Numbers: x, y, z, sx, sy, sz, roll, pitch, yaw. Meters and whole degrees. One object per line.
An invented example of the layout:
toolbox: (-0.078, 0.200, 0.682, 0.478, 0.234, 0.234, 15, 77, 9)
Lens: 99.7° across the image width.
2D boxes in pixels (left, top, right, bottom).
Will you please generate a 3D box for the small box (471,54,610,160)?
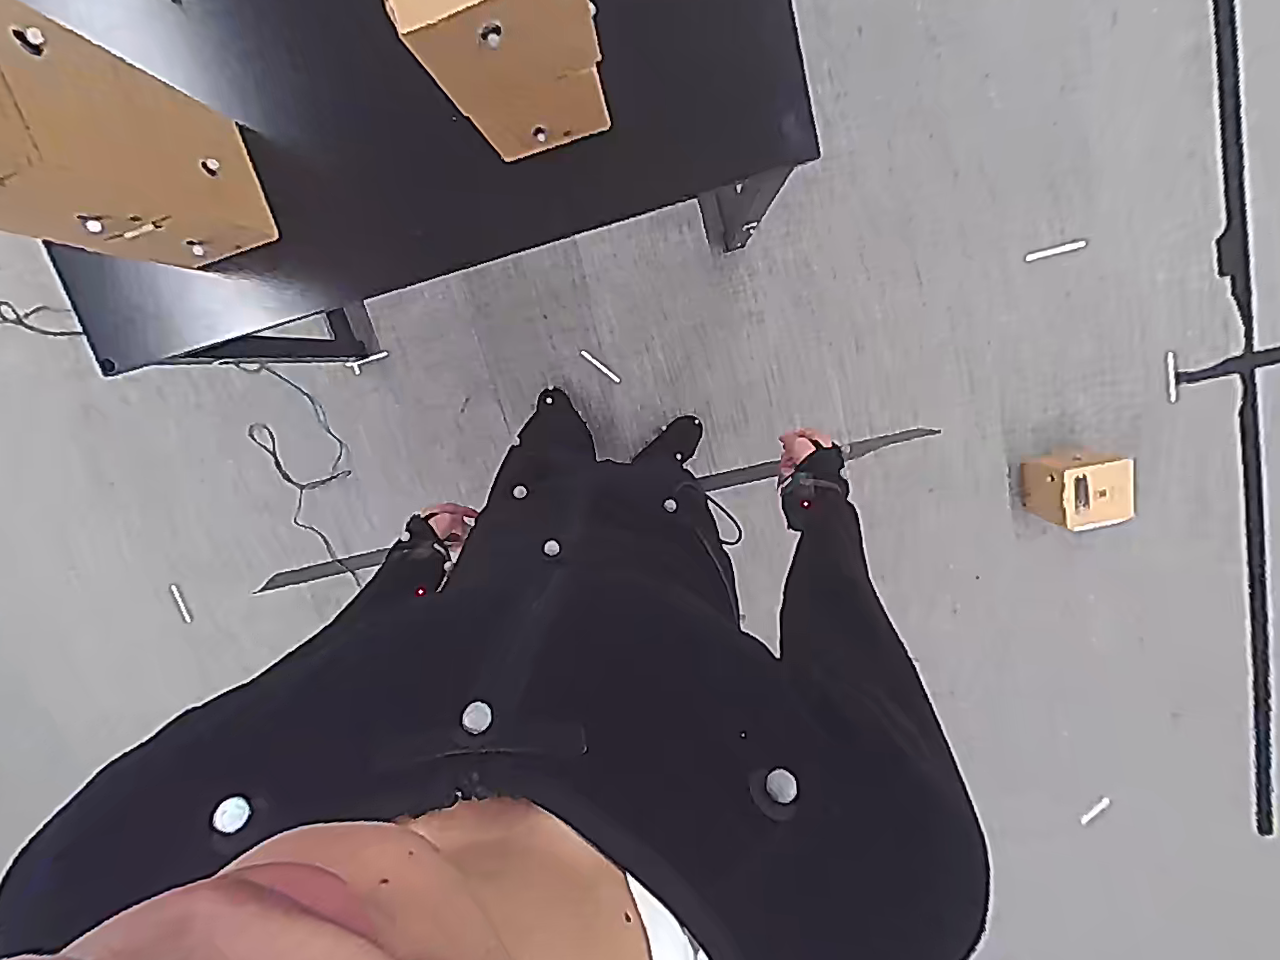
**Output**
small box: (-0.144, -0.554, 0.695, 0.168, 0.176, 0.179, -15, 101, 6)

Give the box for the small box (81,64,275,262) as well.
small box: (-0.660, -0.417, 0.751, 0.168, 0.176, 0.179, -16, 101, 6)

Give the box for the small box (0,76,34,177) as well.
small box: (-0.676, -0.350, 0.431, 0.168, 0.176, 0.179, -15, 101, 7)

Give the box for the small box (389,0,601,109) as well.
small box: (-0.151, -0.513, 0.536, 0.179, 0.176, 0.168, -18, 101, 6)

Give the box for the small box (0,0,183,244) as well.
small box: (-0.669, -0.384, 0.590, 0.168, 0.176, 0.179, -15, 101, 7)
